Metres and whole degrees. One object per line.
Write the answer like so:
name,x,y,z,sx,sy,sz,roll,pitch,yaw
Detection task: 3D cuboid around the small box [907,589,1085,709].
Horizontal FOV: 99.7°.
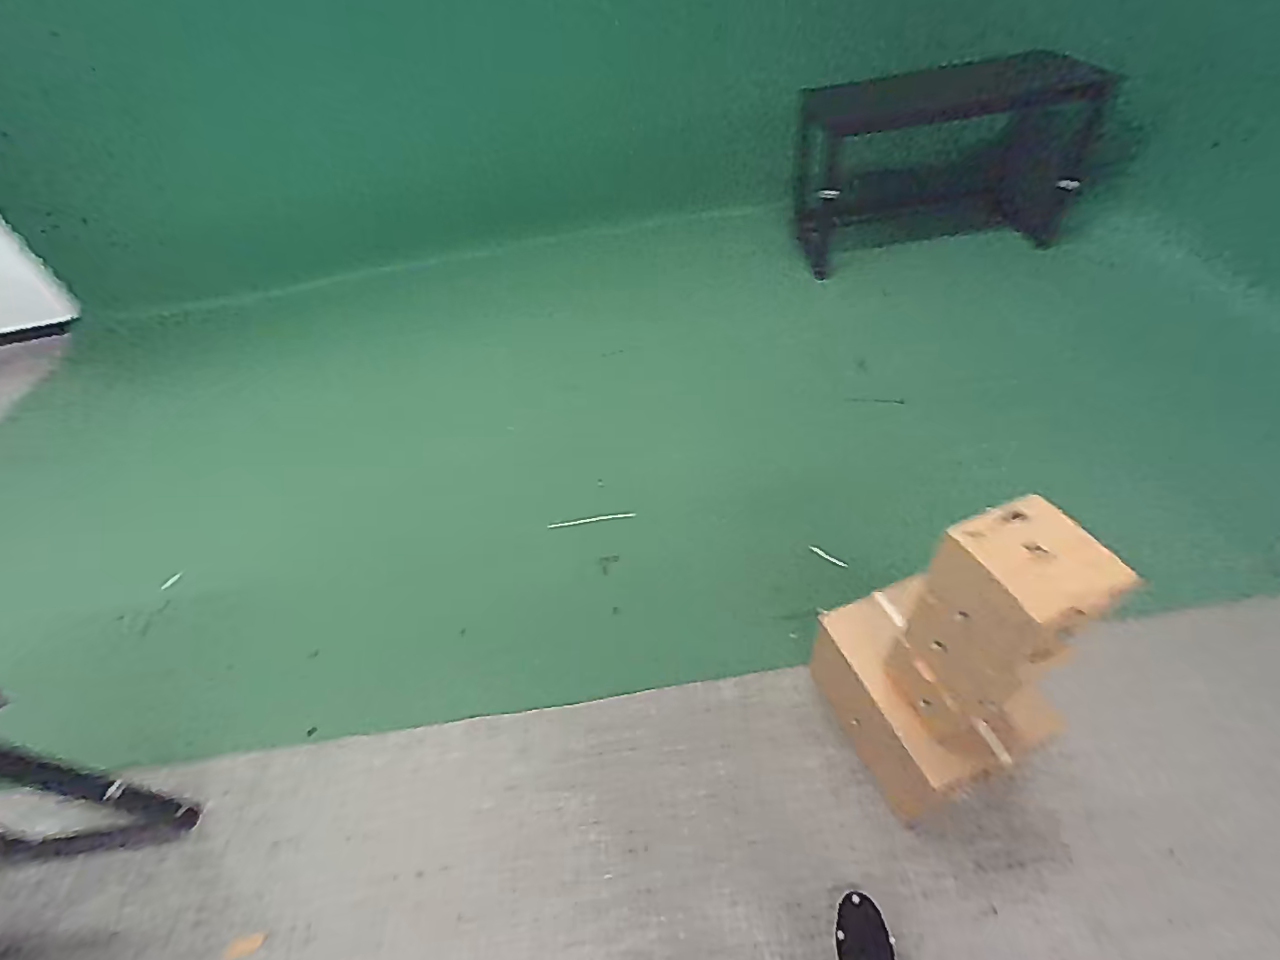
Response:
small box,0.607,0.277,0.948,0.168,0.176,0.179,-20,47,-8

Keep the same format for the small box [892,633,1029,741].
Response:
small box,0.625,0.387,1.068,0.179,0.176,0.168,-19,47,-7

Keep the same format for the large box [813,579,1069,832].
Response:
large box,0.658,0.521,1.274,0.320,0.320,0.408,-18,45,-8

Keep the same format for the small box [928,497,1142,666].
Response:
small box,0.585,0.163,0.832,0.168,0.176,0.179,-19,48,-7
